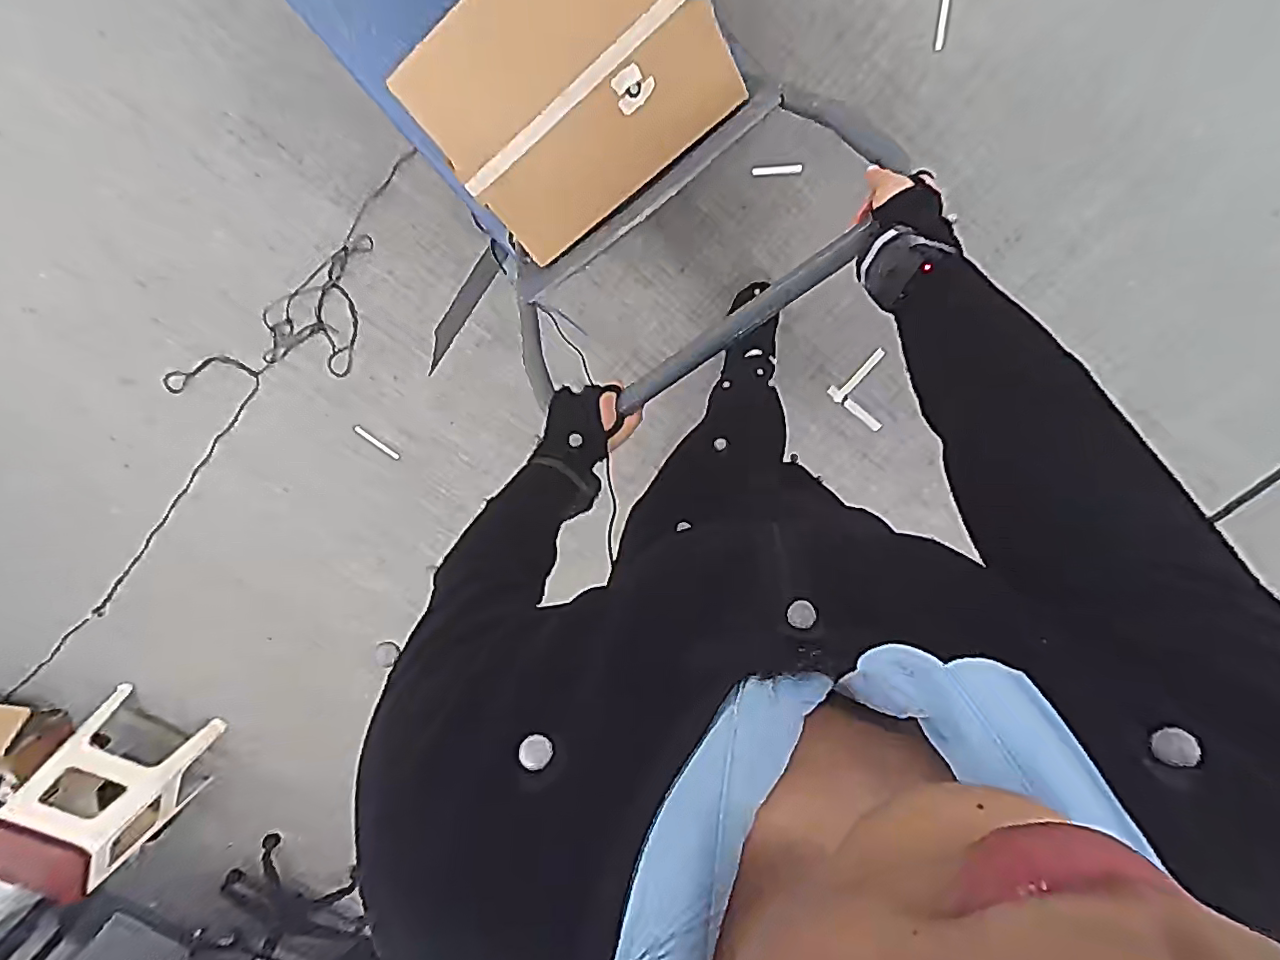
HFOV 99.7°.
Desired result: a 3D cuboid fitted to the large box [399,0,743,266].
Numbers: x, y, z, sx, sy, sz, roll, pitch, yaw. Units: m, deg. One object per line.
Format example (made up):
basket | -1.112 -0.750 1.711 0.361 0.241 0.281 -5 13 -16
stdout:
large box | -0.113 -0.641 0.882 0.408 0.320 0.320 -35 128 16
